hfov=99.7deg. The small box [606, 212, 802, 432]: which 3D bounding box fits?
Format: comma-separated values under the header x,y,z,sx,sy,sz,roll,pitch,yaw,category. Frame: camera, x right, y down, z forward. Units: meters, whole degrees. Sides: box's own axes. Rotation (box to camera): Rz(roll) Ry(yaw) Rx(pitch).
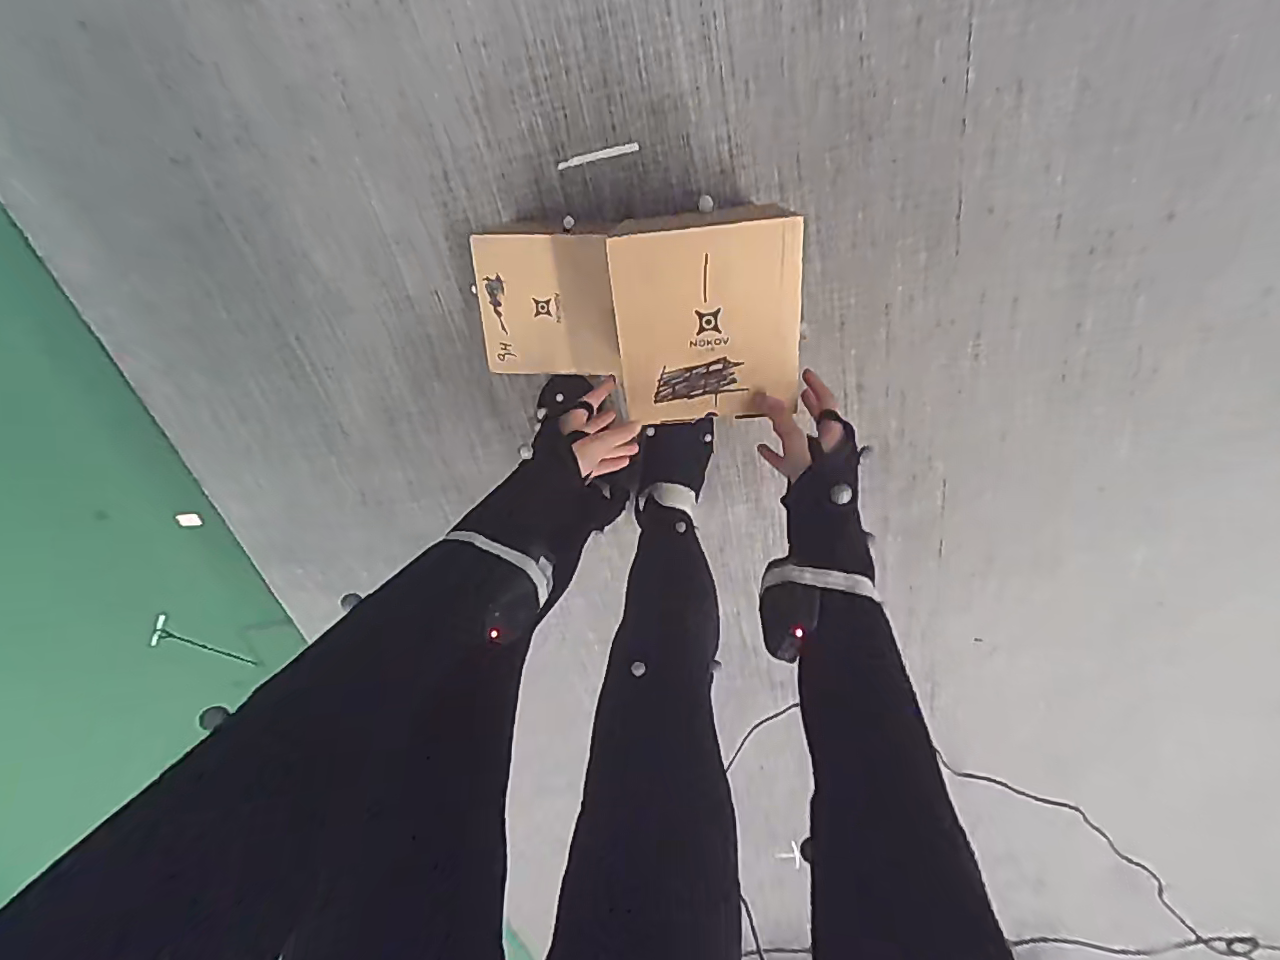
x,y,z,sx,sy,sz,roll,pitch,yaw,category
0.066,-0.166,0.557,0.168,0.176,0.179,-3,119,7,small box
